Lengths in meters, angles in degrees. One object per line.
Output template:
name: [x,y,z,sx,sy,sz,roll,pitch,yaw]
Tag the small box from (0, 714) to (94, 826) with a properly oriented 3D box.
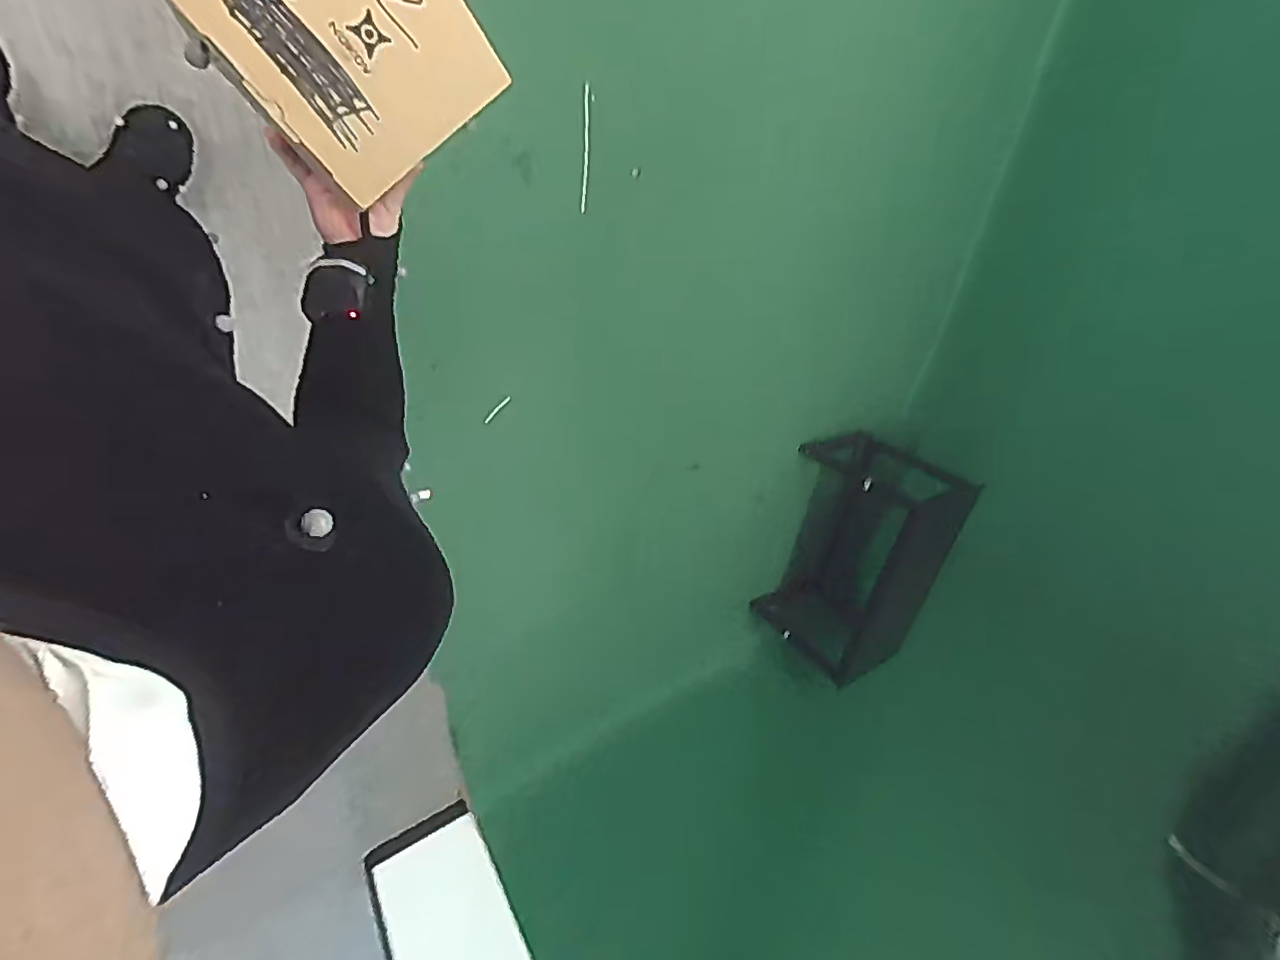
small box: [-1.204,0.597,1.049,0.168,0.176,0.179,-15,126,-34]
